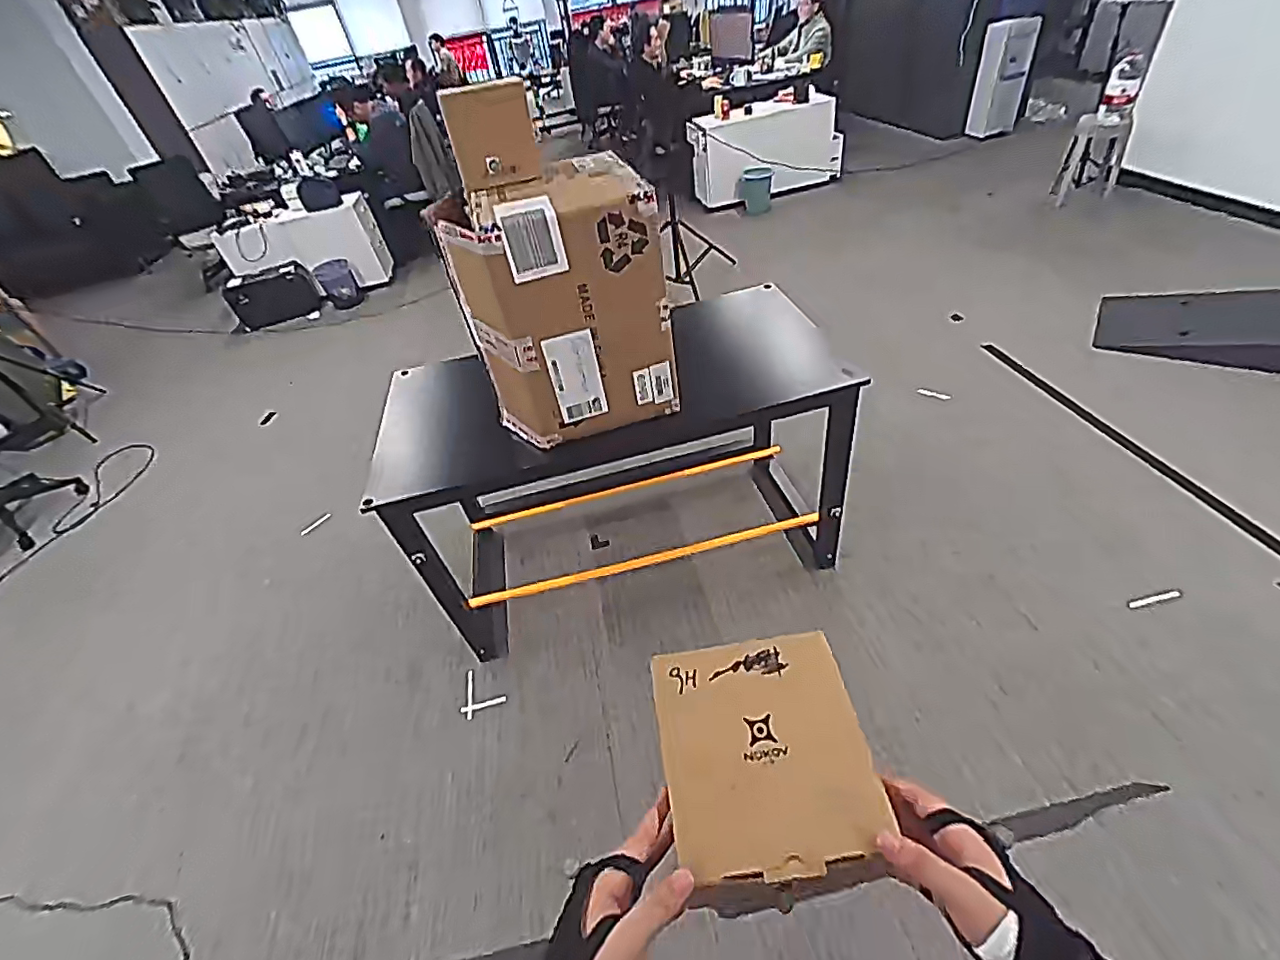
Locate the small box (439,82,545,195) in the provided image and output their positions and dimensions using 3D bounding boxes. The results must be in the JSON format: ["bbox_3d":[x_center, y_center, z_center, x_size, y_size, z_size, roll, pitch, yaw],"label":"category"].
[{"bbox_3d":[-0.306,-0.707,1.123,0.168,0.176,0.179,-17,41,-7],"label":"small box"}]
